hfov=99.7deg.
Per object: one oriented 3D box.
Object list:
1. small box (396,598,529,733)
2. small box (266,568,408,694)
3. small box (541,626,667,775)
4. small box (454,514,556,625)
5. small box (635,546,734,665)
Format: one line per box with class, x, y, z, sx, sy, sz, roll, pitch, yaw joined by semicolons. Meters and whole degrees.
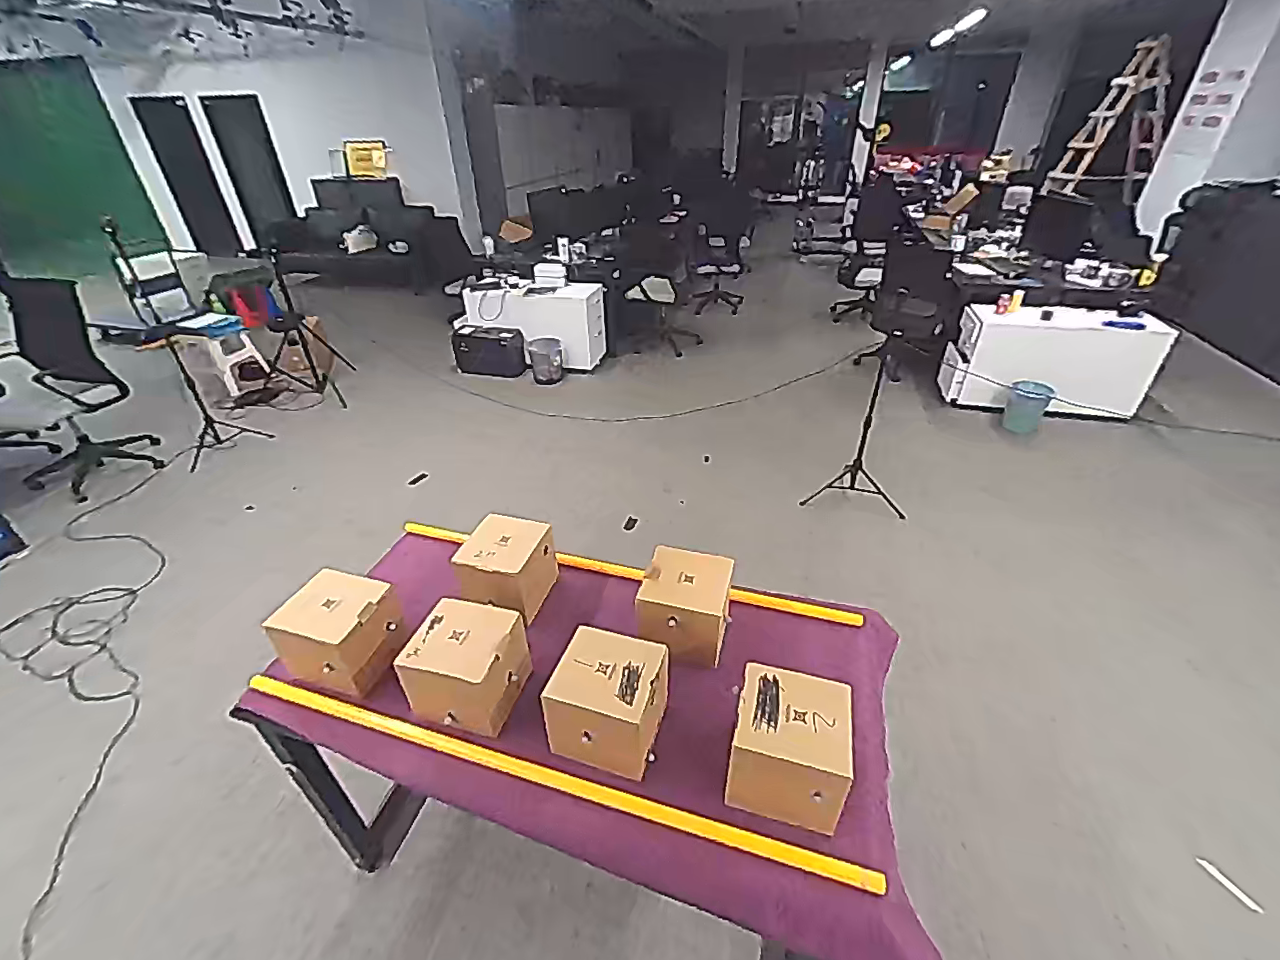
small box;-0.330;0.360;1.047;0.179;0.176;0.168;9;35;13
small box;-0.613;0.314;1.121;0.179;0.176;0.168;10;35;12
small box;-0.056;0.398;0.979;0.179;0.176;0.168;9;33;17
small box;-0.306;0.208;1.271;0.168;0.176;0.179;9;37;15
small box;0.099;0.271;1.165;0.179;0.176;0.168;8;36;15
